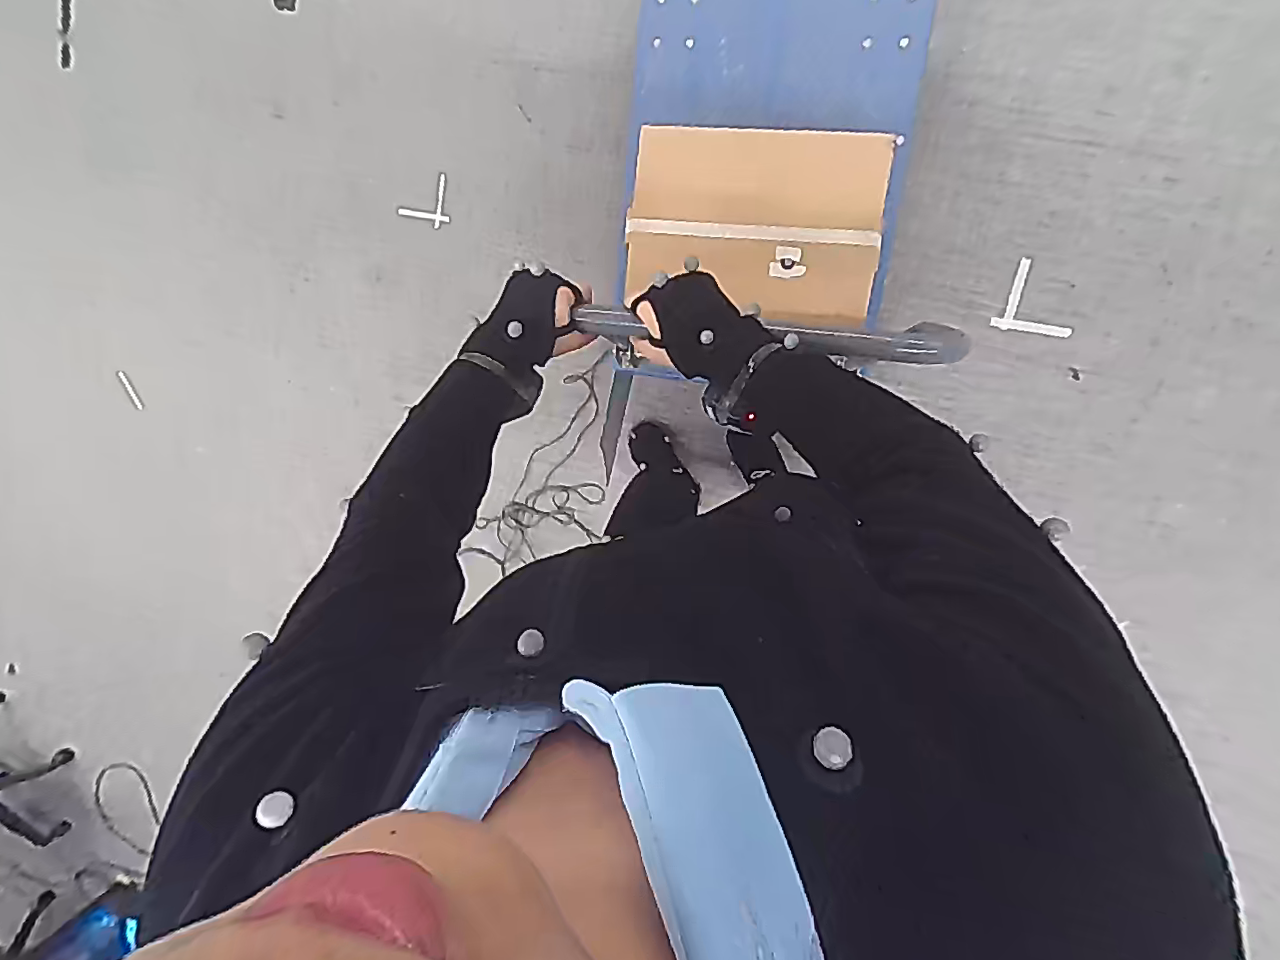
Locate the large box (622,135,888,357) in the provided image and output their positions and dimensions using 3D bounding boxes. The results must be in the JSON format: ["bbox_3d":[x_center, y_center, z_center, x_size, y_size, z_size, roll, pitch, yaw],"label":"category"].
[{"bbox_3d":[0.198,-0.417,1.032,0.408,0.320,0.320,8,101,8],"label":"large box"}]
